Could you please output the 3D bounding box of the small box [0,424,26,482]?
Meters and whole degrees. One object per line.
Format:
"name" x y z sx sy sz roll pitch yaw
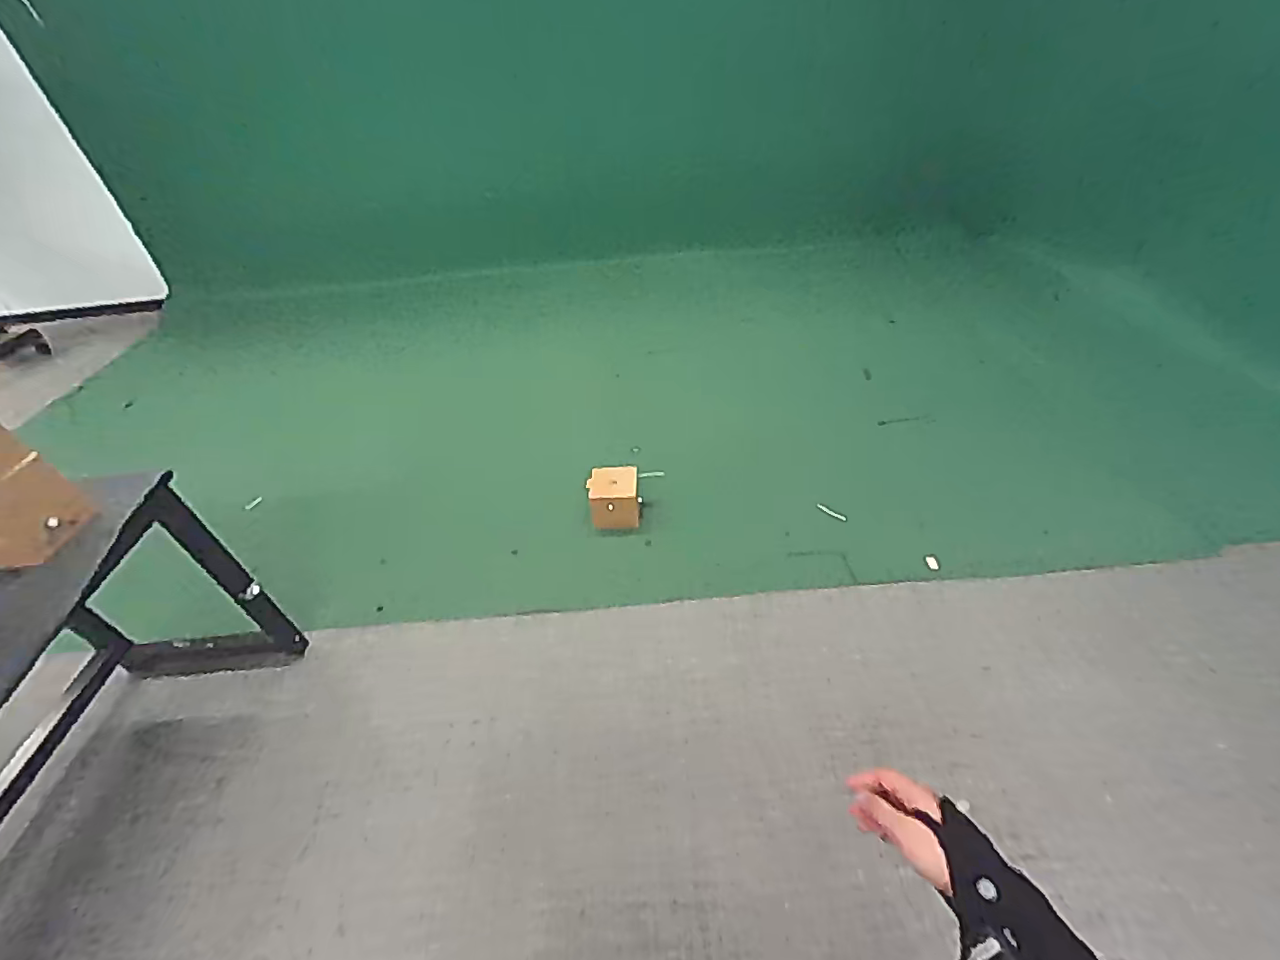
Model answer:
"small box" -1.308 -0.045 0.983 0.168 0.176 0.179 -9 43 2

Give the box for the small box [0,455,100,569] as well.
"small box" -1.290 0.068 1.098 0.179 0.176 0.168 -3 42 6

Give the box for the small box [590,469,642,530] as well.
"small box" -0.086 0.077 2.058 0.179 0.176 0.168 -3 42 4
